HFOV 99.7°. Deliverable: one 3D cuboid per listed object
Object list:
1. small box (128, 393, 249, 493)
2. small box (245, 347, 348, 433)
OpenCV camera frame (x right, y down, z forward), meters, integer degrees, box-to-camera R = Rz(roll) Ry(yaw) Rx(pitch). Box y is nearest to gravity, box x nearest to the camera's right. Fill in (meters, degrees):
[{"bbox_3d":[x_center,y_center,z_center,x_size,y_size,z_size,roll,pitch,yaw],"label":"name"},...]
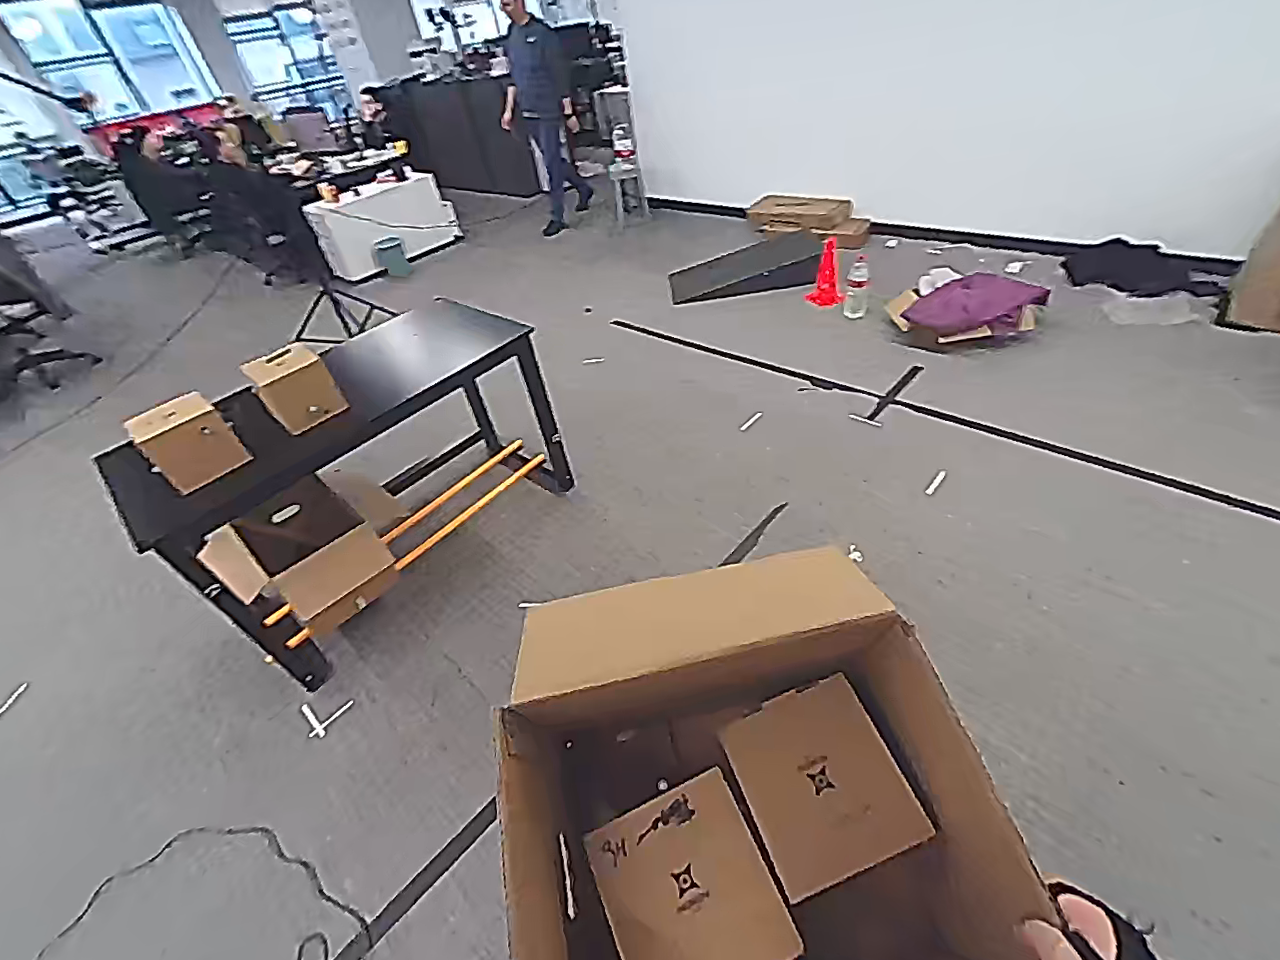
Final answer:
[{"bbox_3d":[-1.173,-0.098,1.419,0.168,0.176,0.179,26,52,35],"label":"small box"},{"bbox_3d":[-0.989,-0.259,1.566,0.179,0.176,0.168,28,54,35],"label":"small box"}]
